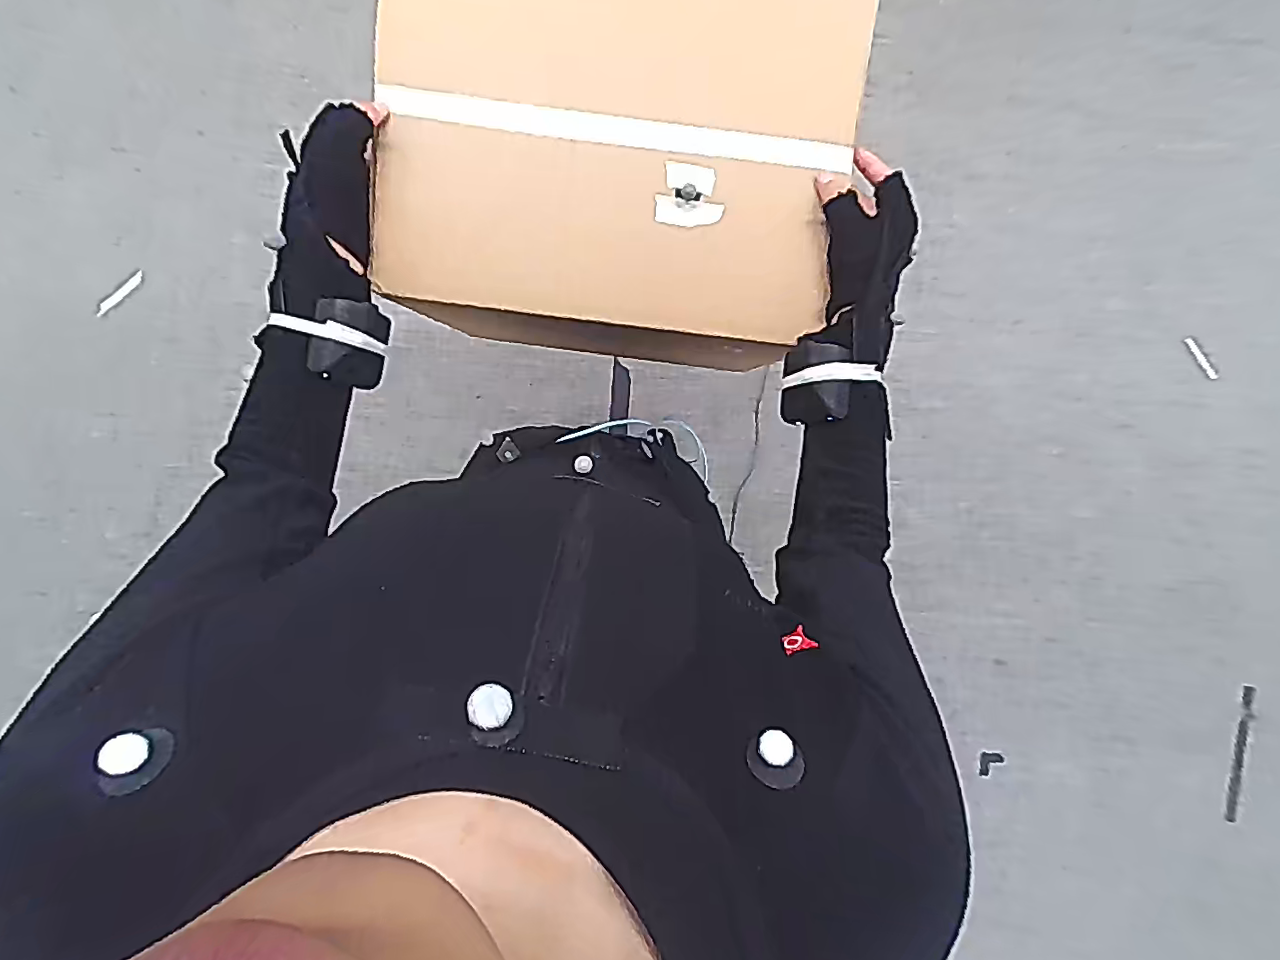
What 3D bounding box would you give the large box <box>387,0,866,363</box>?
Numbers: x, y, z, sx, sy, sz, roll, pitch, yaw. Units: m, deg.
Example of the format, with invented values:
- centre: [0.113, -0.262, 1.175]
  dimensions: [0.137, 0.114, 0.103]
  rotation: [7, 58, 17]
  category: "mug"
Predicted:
- centre: [-0.022, -0.321, 0.622]
  dimensions: [0.408, 0.320, 0.320]
  rotation: [7, 99, -3]
  category: "large box"
